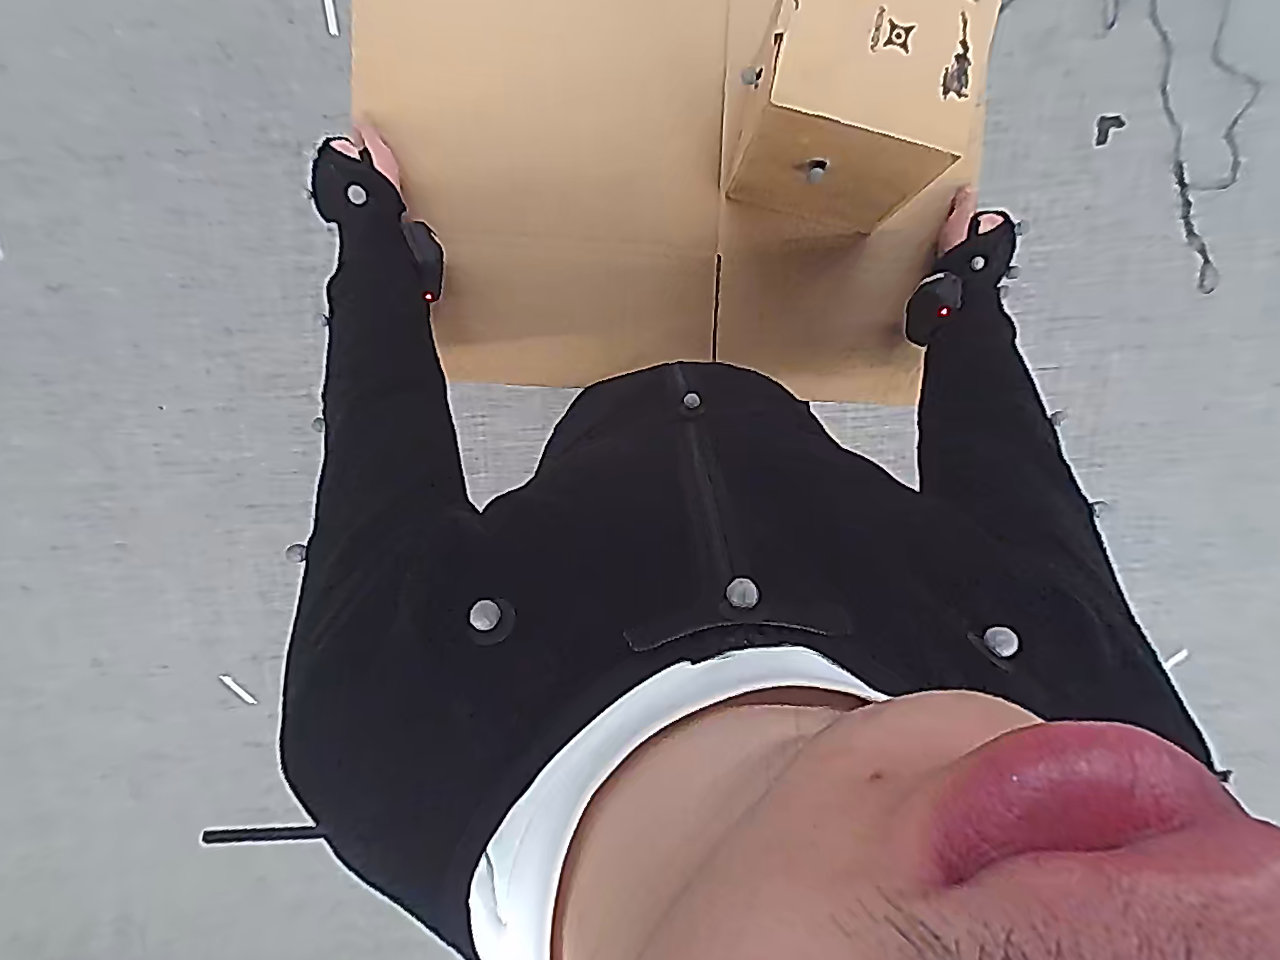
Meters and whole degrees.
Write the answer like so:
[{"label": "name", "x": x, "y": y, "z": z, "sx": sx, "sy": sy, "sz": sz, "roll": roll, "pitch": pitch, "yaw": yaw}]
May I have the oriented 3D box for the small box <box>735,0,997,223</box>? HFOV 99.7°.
[{"label": "small box", "x": 0.205, "y": -0.382, "z": 0.536, "sx": 0.179, "sy": 0.176, "sz": 0.168, "roll": 13, "pitch": 93, "yaw": -3}]
